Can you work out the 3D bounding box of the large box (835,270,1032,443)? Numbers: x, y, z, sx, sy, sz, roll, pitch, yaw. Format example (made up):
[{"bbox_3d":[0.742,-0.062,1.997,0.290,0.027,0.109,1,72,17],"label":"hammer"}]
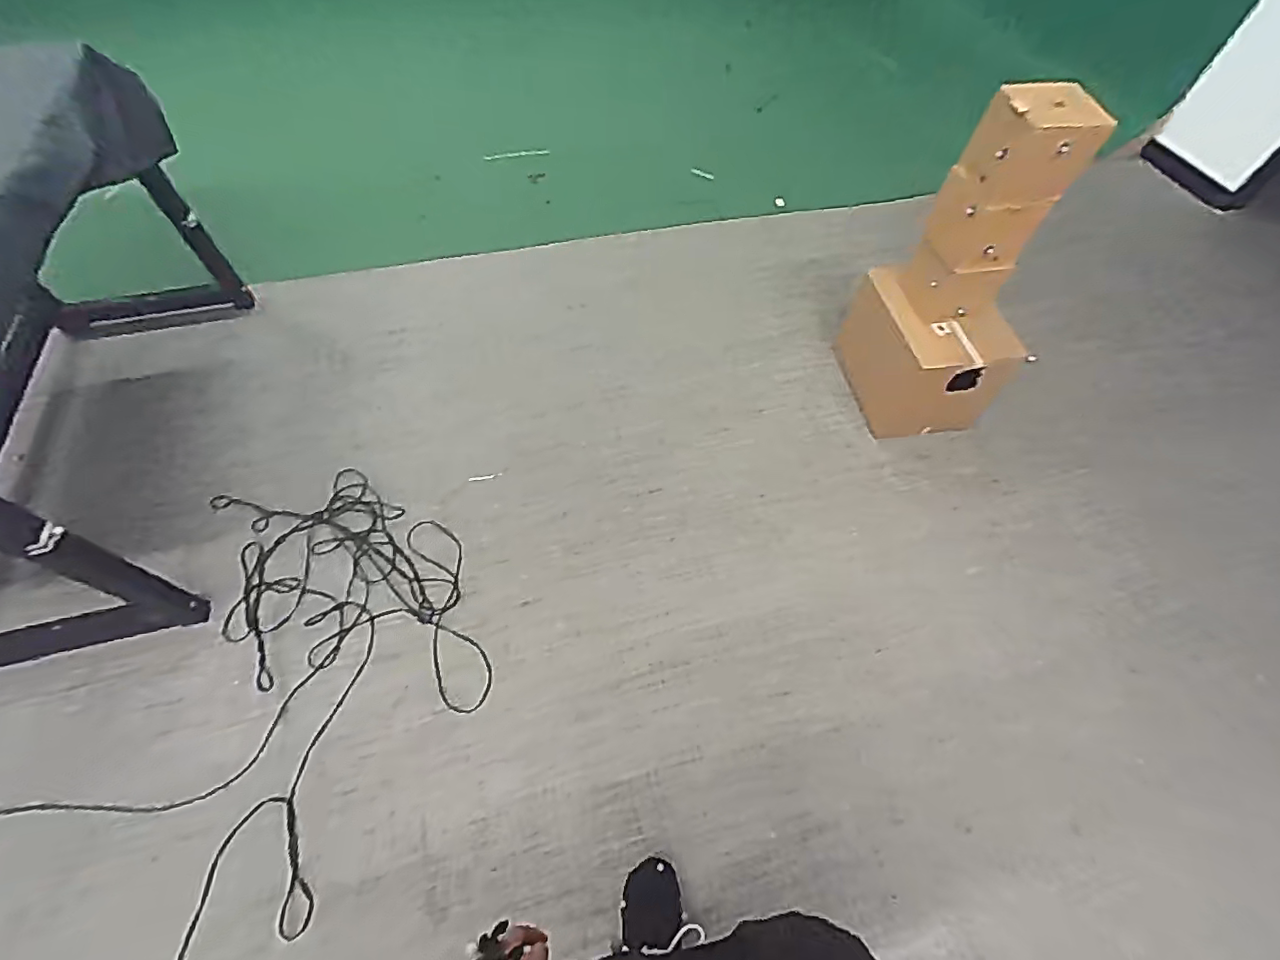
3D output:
[{"bbox_3d":[0.848,-0.371,1.635,0.320,0.320,0.408,-7,60,-6],"label":"large box"}]

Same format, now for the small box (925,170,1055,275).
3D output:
[{"bbox_3d":[0.836,-0.626,1.313,0.168,0.176,0.179,-8,60,-7],"label":"small box"}]

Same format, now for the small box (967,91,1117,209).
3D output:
[{"bbox_3d":[0.853,-0.711,1.176,0.179,0.176,0.168,-5,61,-7],"label":"small box"}]
